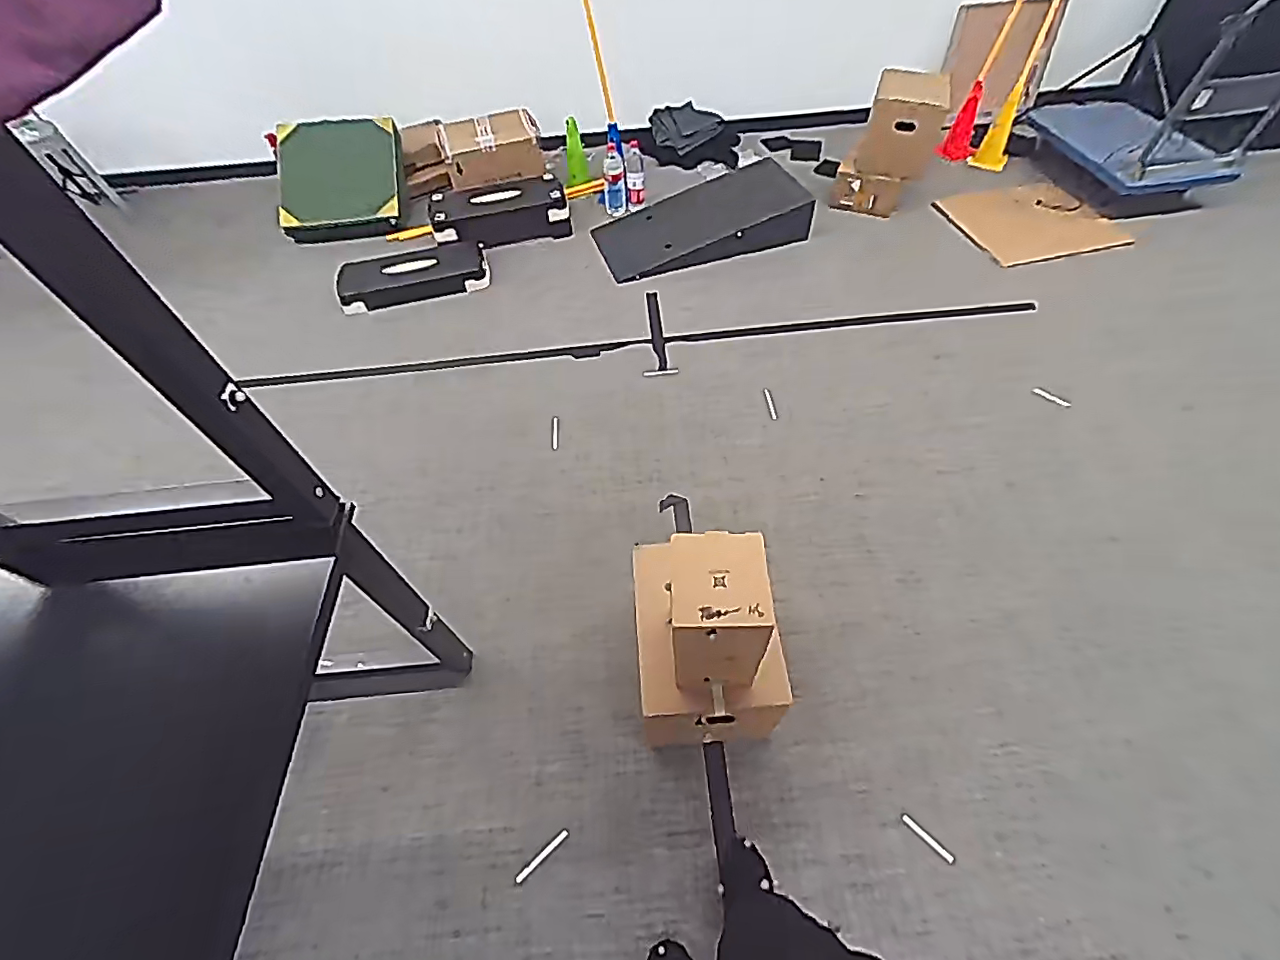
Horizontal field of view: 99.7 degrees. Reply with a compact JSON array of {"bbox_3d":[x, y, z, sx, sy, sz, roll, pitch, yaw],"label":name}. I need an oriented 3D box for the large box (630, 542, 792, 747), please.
[{"bbox_3d":[0.151,0.398,1.335,0.320,0.320,0.408,-4,52,-1],"label":"large box"}]

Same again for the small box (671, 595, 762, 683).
[{"bbox_3d":[0.148,0.301,1.103,0.168,0.176,0.179,-2,54,3],"label":"small box"}]

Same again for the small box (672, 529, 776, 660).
[{"bbox_3d":[0.140,0.206,0.969,0.168,0.176,0.179,-2,52,4],"label":"small box"}]
